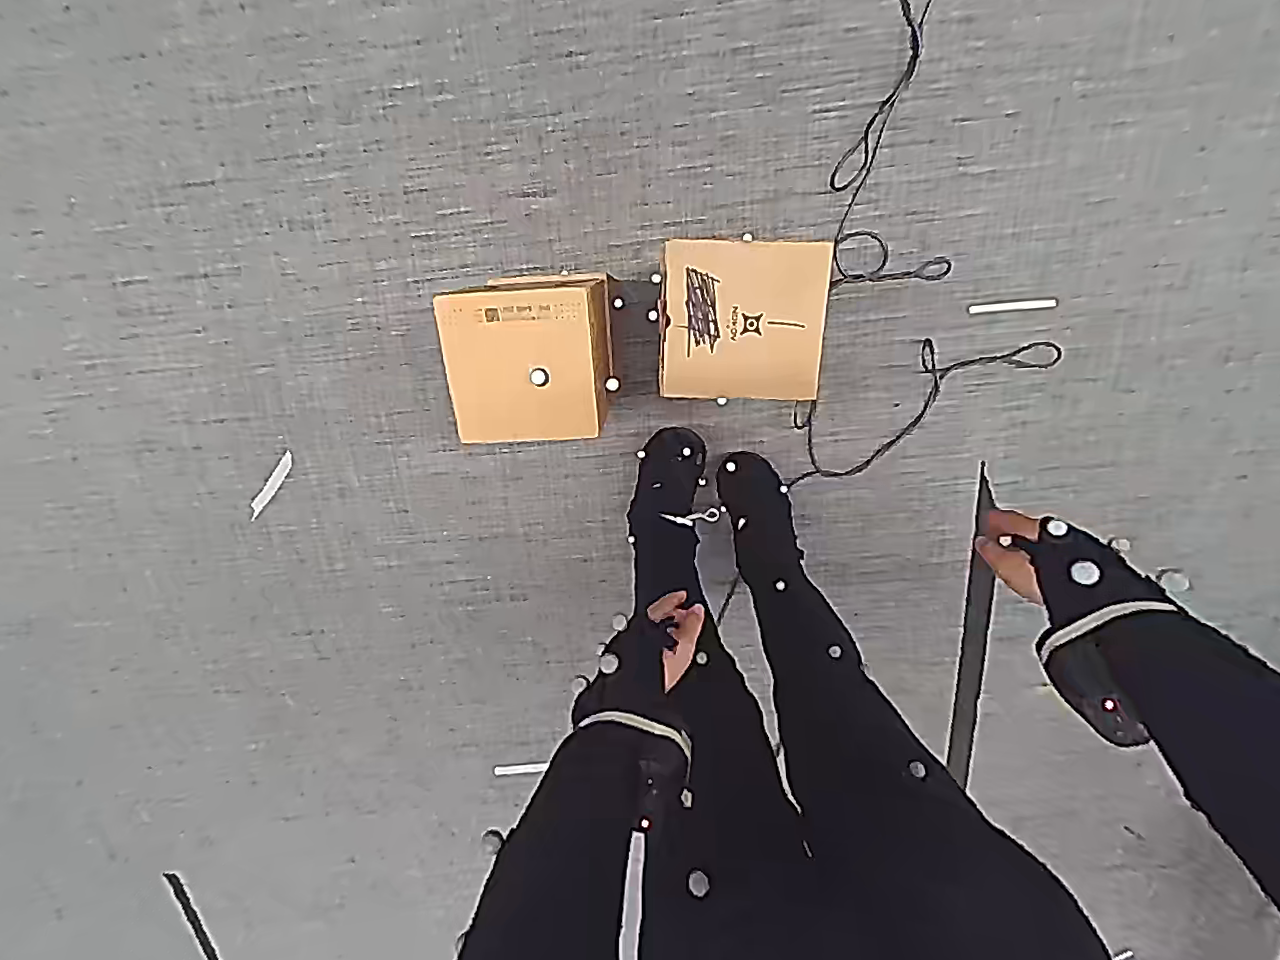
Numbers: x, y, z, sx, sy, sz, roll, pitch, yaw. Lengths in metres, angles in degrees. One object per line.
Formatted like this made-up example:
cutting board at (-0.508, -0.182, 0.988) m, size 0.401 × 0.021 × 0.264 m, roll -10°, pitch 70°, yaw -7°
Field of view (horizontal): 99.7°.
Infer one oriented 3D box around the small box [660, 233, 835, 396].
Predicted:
small box at (0.114, -0.197, 0.656) m, size 0.179 × 0.176 × 0.168 m, roll 1°, pitch 107°, yaw 0°
